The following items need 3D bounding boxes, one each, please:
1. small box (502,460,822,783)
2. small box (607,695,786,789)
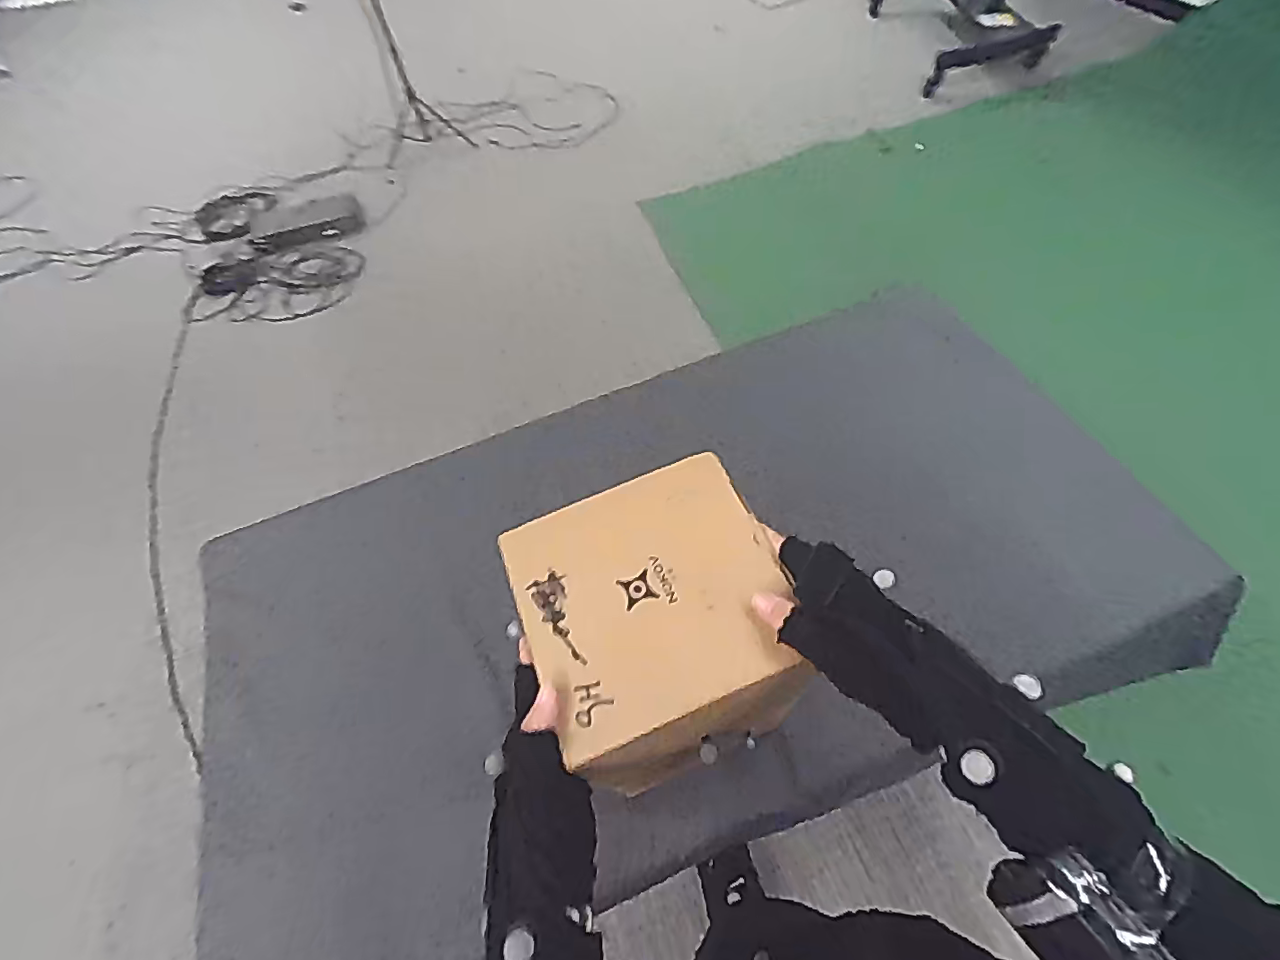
[{"bbox_3d":[0.012,0.118,0.431,0.179,0.176,0.168,-21,56,-8],"label":"small box"},{"bbox_3d":[0.028,0.203,0.572,0.179,0.176,0.168,-23,58,-7],"label":"small box"}]
